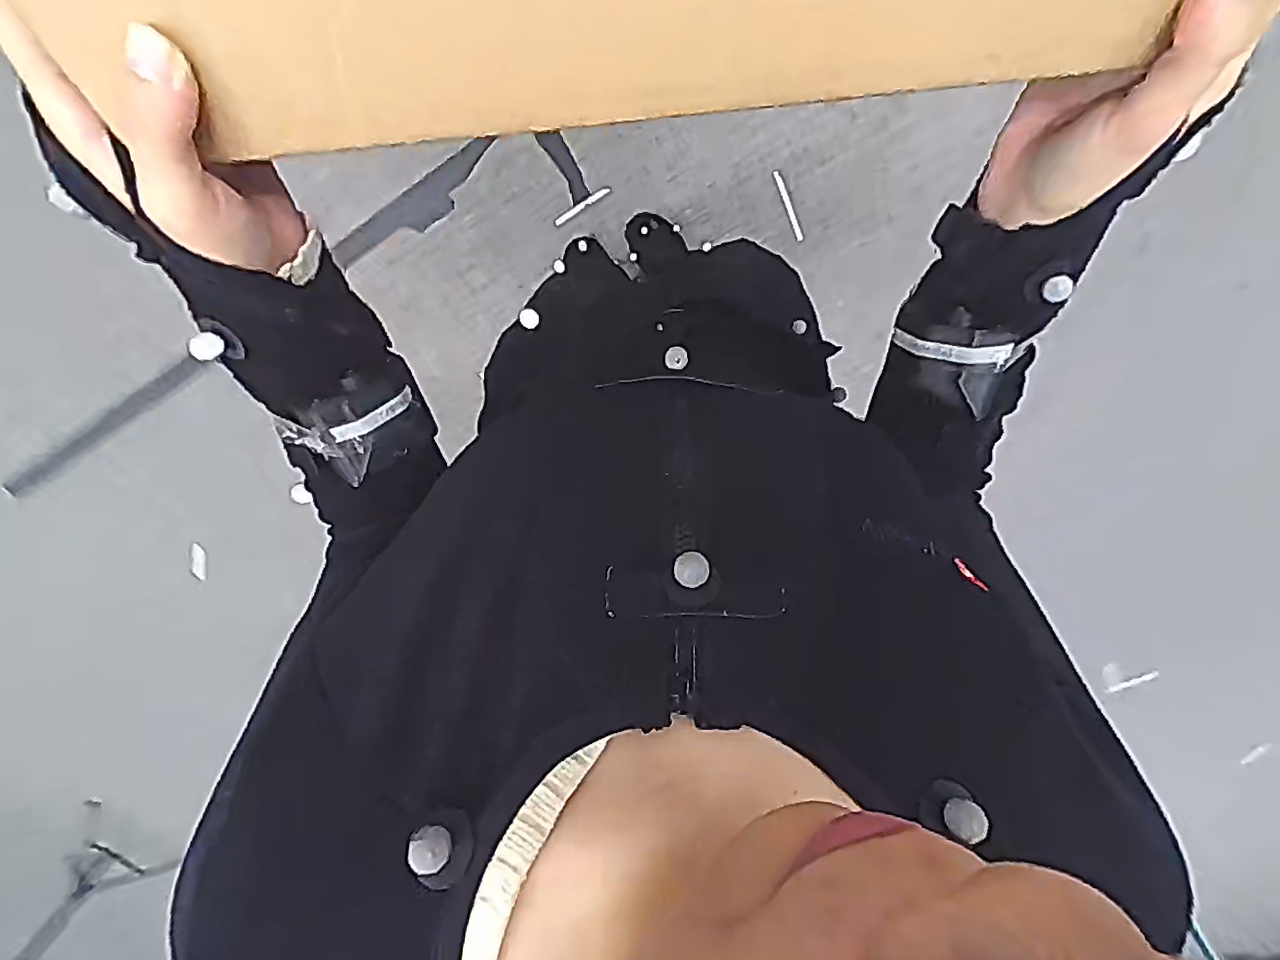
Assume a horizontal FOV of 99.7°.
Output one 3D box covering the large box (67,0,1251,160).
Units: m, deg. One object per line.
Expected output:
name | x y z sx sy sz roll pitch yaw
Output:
large box | -0.001 -0.351 0.167 0.408 0.320 0.320 -6 145 -1
